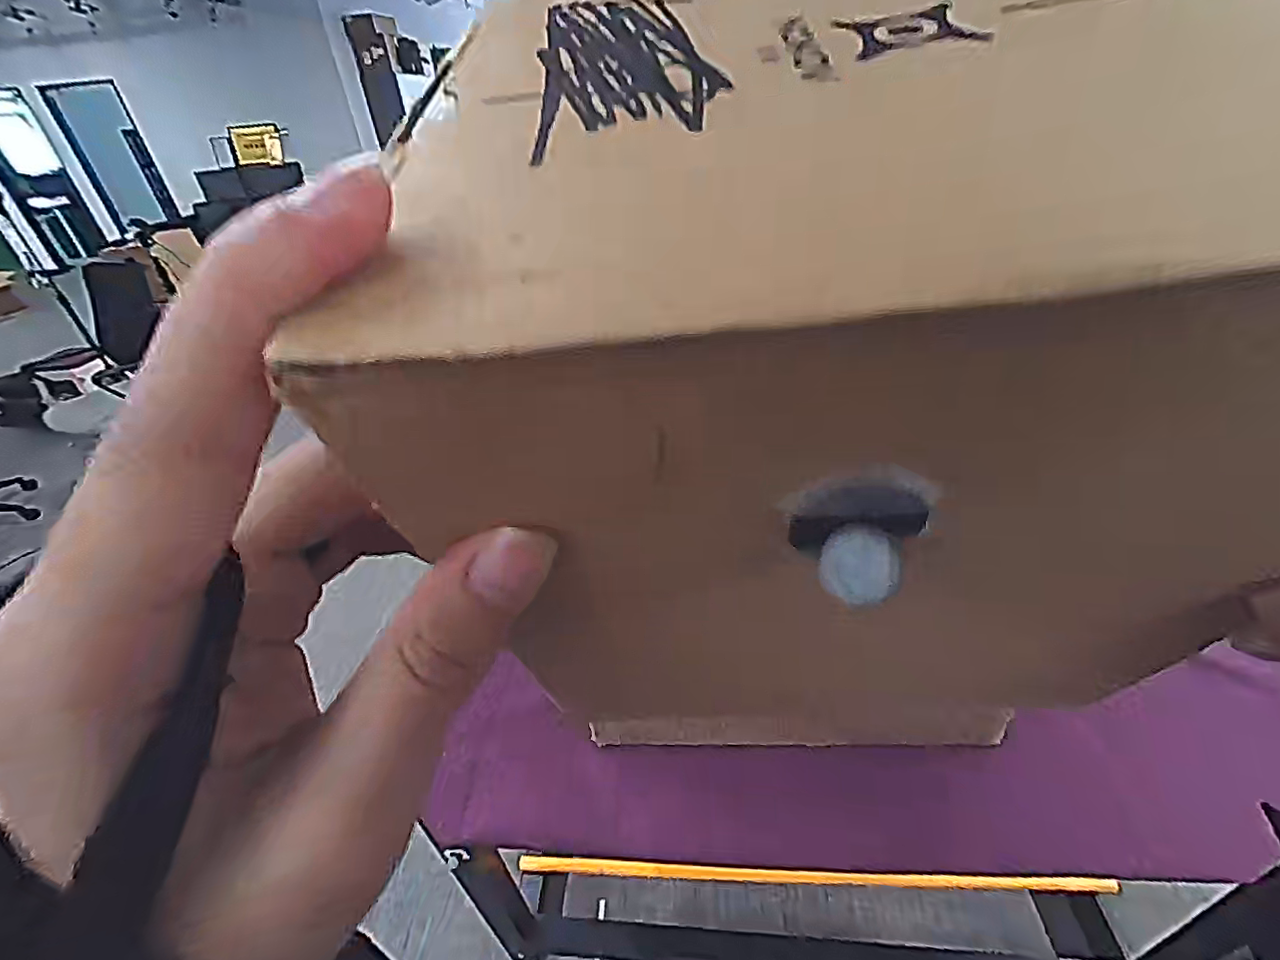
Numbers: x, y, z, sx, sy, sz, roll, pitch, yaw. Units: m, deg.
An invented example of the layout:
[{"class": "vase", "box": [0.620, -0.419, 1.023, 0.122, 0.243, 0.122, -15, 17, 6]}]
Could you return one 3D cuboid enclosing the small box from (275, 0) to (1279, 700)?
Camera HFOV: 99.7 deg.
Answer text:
[{"class": "small box", "box": [0.052, -0.039, 0.165, 0.179, 0.176, 0.168, -4, 53, 5]}]
